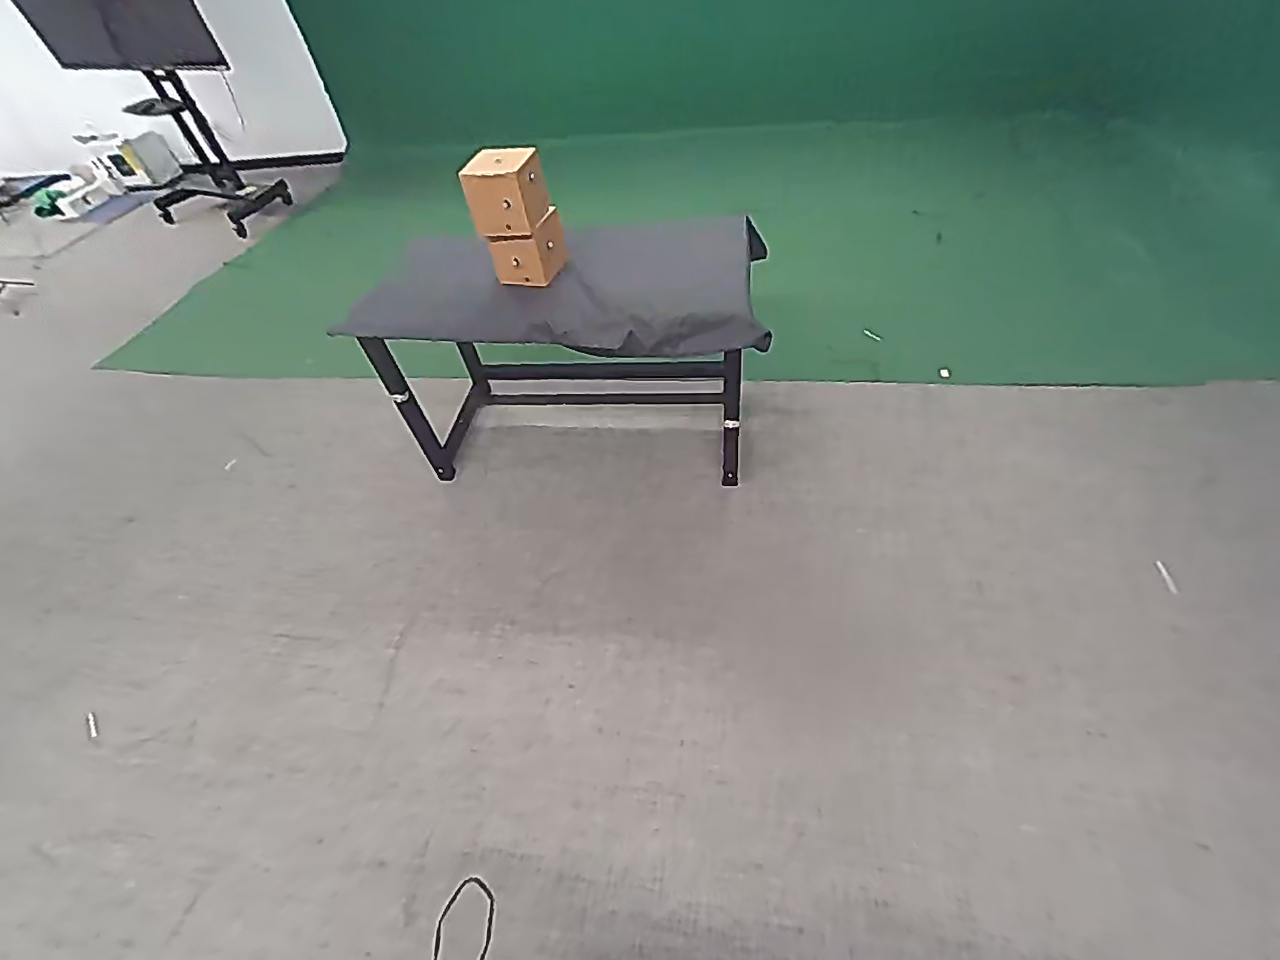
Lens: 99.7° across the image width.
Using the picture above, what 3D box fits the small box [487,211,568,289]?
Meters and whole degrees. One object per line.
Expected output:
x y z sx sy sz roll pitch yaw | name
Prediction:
-0.336 -0.705 1.662 0.168 0.176 0.179 10 52 16 | small box

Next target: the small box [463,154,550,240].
-0.368 -0.796 1.528 0.168 0.176 0.179 6 49 11 | small box
